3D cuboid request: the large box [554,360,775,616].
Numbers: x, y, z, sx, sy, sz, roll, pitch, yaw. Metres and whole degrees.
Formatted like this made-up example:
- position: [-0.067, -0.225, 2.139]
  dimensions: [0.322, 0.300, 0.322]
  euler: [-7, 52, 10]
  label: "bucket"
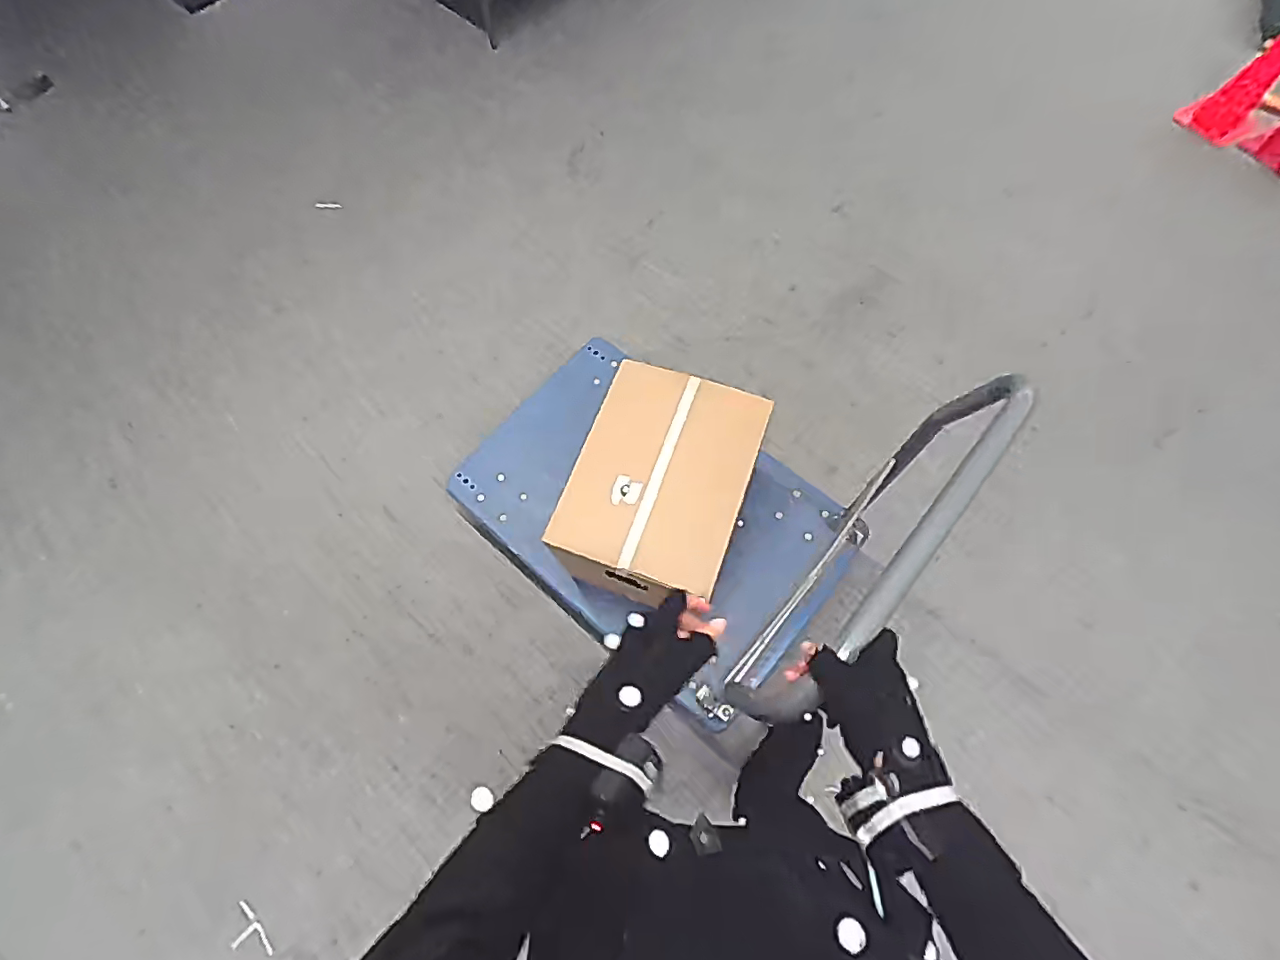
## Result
- position: [0.060, 0.029, 1.135]
  dimensions: [0.320, 0.320, 0.408]
  euler: [18, 72, 11]
  label: "large box"
